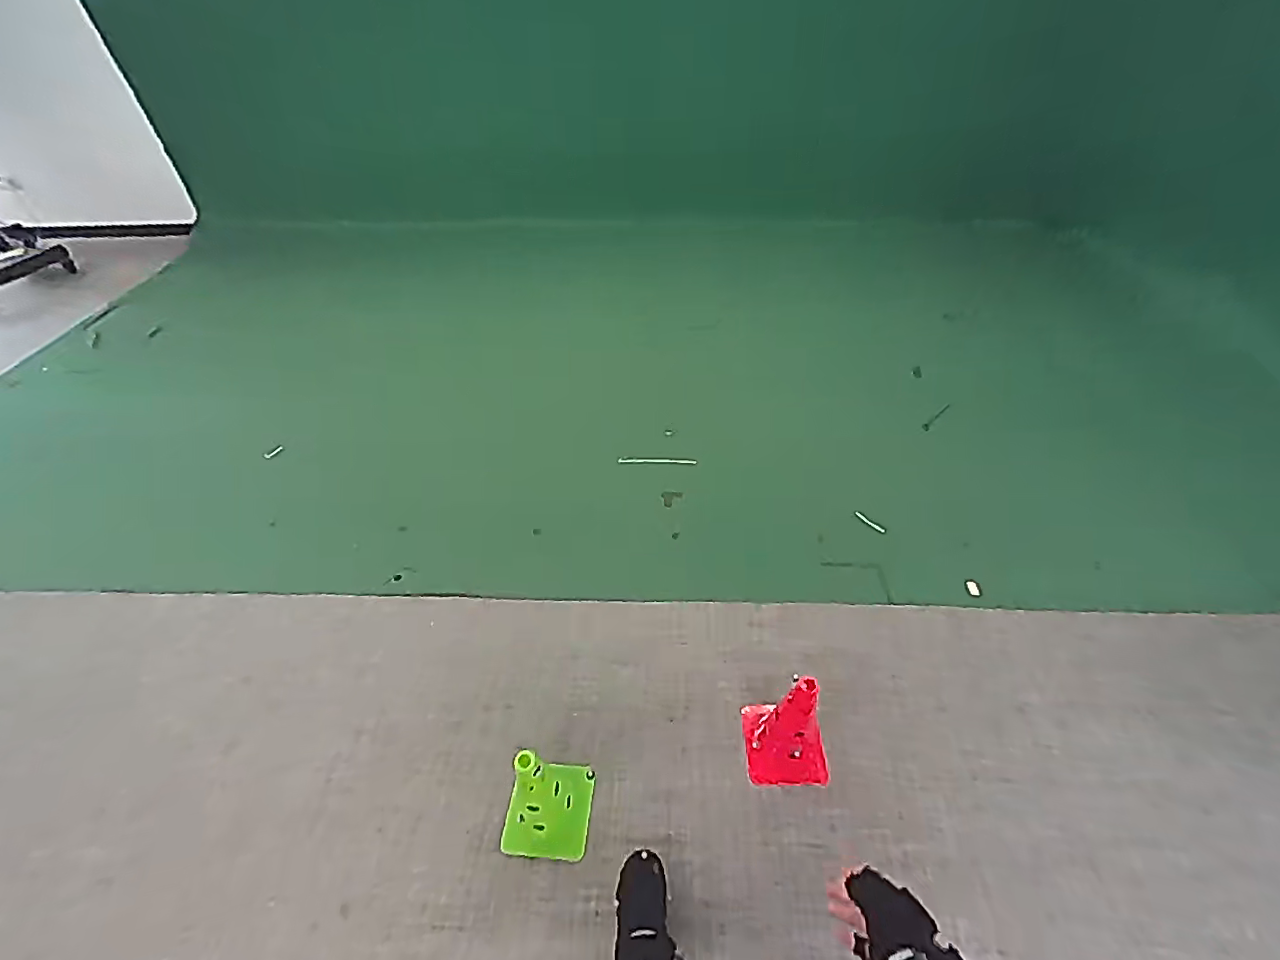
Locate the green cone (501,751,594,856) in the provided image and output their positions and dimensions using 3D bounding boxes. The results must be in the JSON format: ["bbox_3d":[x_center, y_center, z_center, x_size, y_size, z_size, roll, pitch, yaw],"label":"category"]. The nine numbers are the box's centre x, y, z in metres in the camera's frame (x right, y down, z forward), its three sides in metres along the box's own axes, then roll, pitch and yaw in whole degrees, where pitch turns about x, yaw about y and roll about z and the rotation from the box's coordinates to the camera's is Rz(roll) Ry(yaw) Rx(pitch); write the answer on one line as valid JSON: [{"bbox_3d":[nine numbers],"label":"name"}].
[{"bbox_3d":[-0.227,0.673,1.194,0.200,0.368,0.202,2,46,5],"label":"green cone"}]
